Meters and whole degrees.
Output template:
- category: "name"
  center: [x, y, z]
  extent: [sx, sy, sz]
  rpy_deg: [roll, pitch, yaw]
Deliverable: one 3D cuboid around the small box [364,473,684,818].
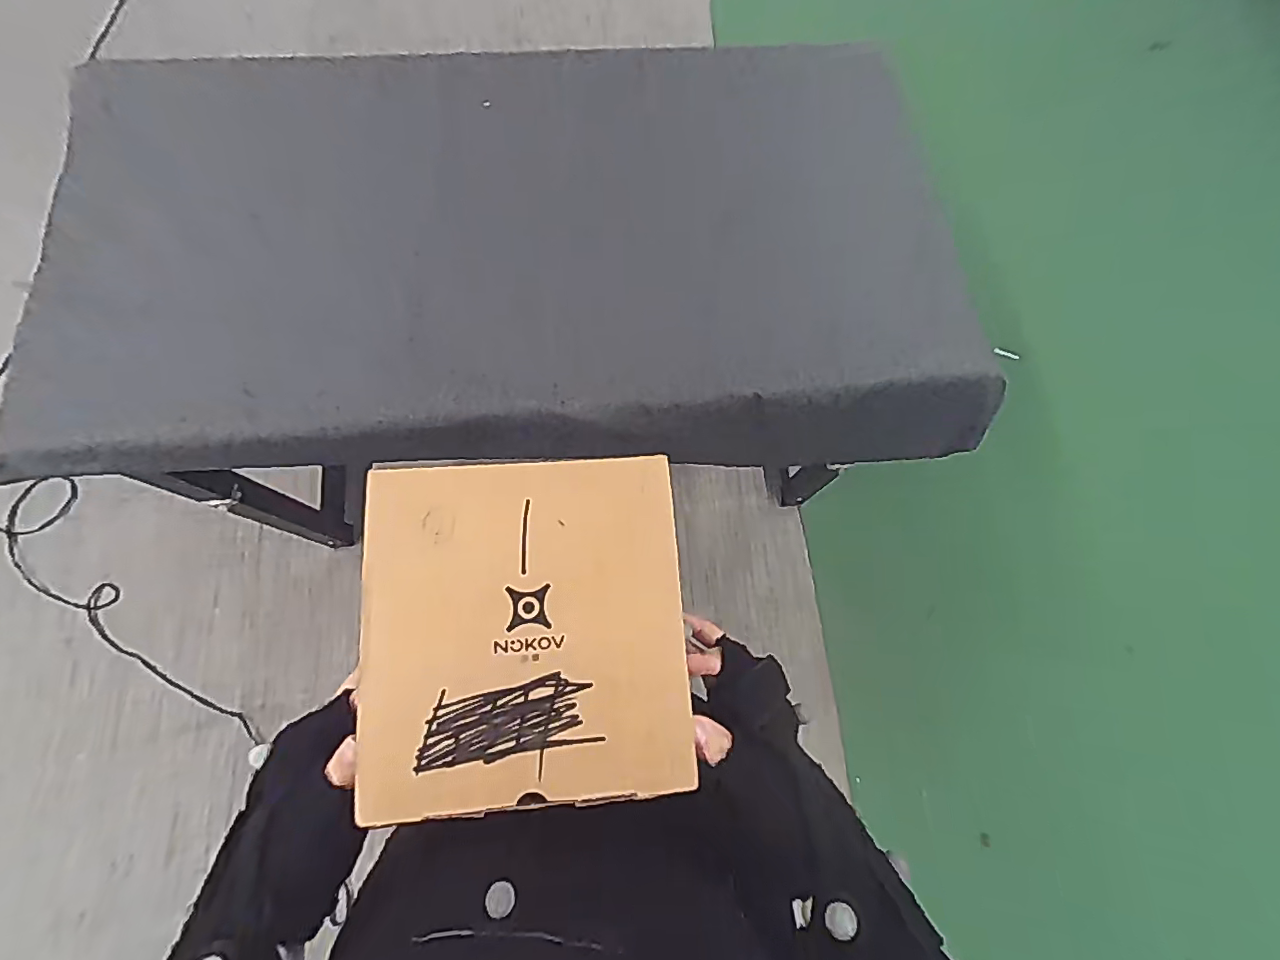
- category: "small box"
  center: [-0.066, 0.099, 0.369]
  extent: [0.168, 0.176, 0.179]
  rpy_deg: [-1, 77, -6]
